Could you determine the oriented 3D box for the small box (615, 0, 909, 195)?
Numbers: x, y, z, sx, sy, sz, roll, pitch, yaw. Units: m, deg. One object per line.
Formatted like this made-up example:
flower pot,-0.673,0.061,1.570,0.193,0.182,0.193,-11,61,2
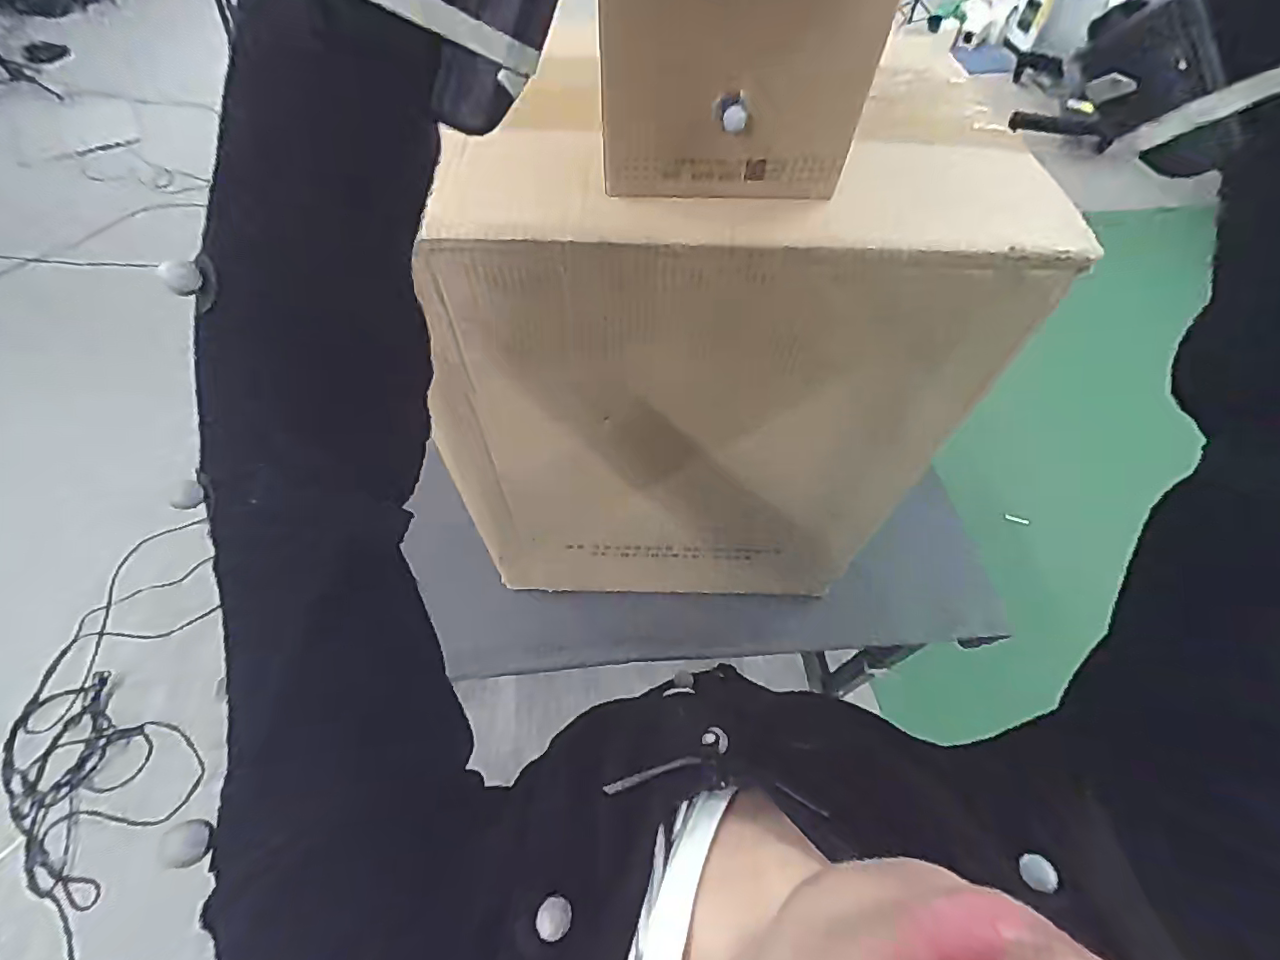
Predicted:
small box,0.067,-0.325,0.368,0.168,0.176,0.179,0,59,-2
